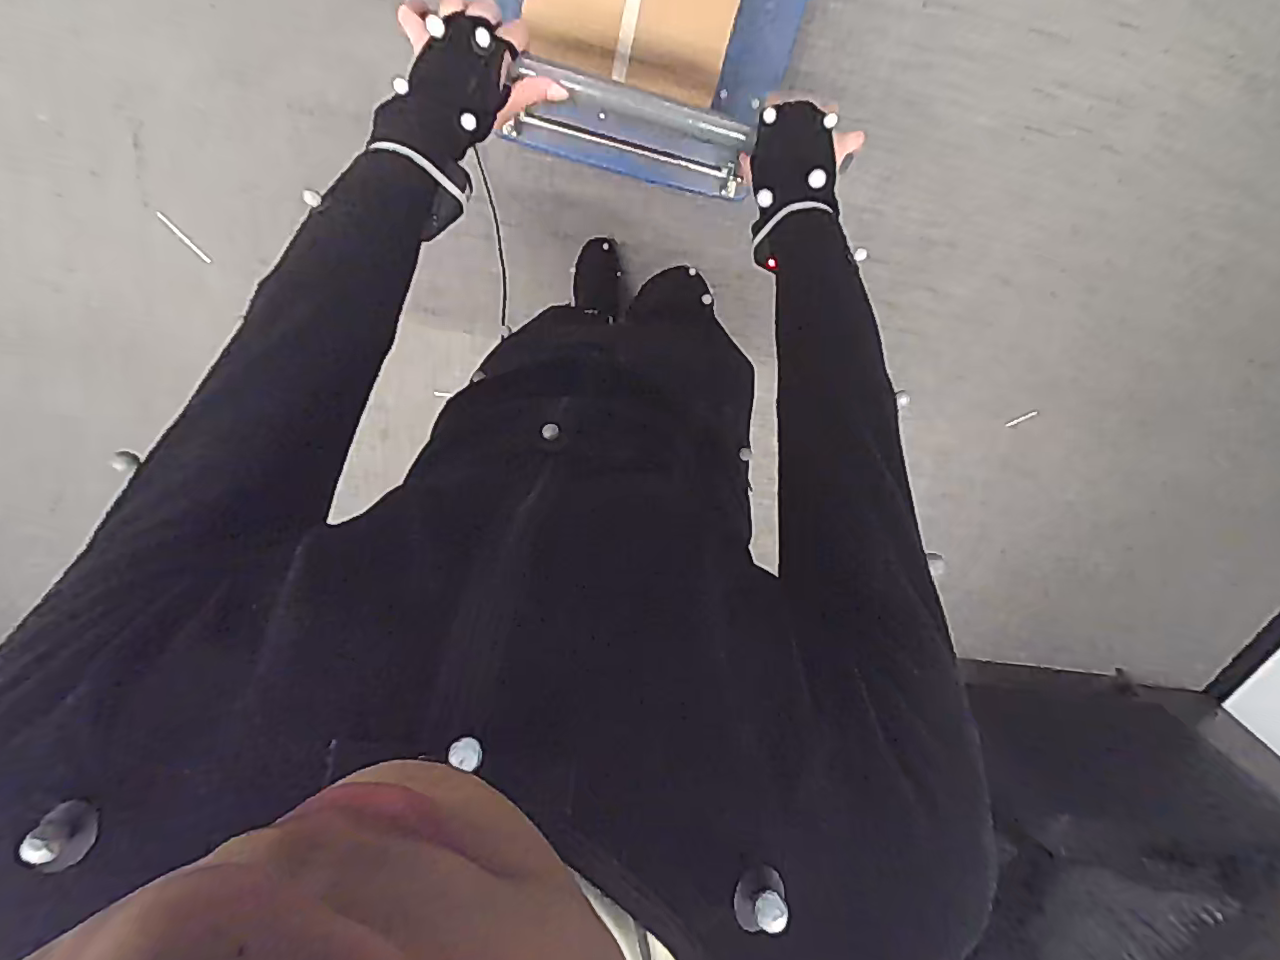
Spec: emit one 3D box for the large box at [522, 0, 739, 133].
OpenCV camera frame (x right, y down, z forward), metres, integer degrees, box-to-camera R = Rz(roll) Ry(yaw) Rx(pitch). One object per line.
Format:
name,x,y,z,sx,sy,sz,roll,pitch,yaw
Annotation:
large box,0.004,-0.859,0.903,0.320,0.320,0.408,11,117,-9
